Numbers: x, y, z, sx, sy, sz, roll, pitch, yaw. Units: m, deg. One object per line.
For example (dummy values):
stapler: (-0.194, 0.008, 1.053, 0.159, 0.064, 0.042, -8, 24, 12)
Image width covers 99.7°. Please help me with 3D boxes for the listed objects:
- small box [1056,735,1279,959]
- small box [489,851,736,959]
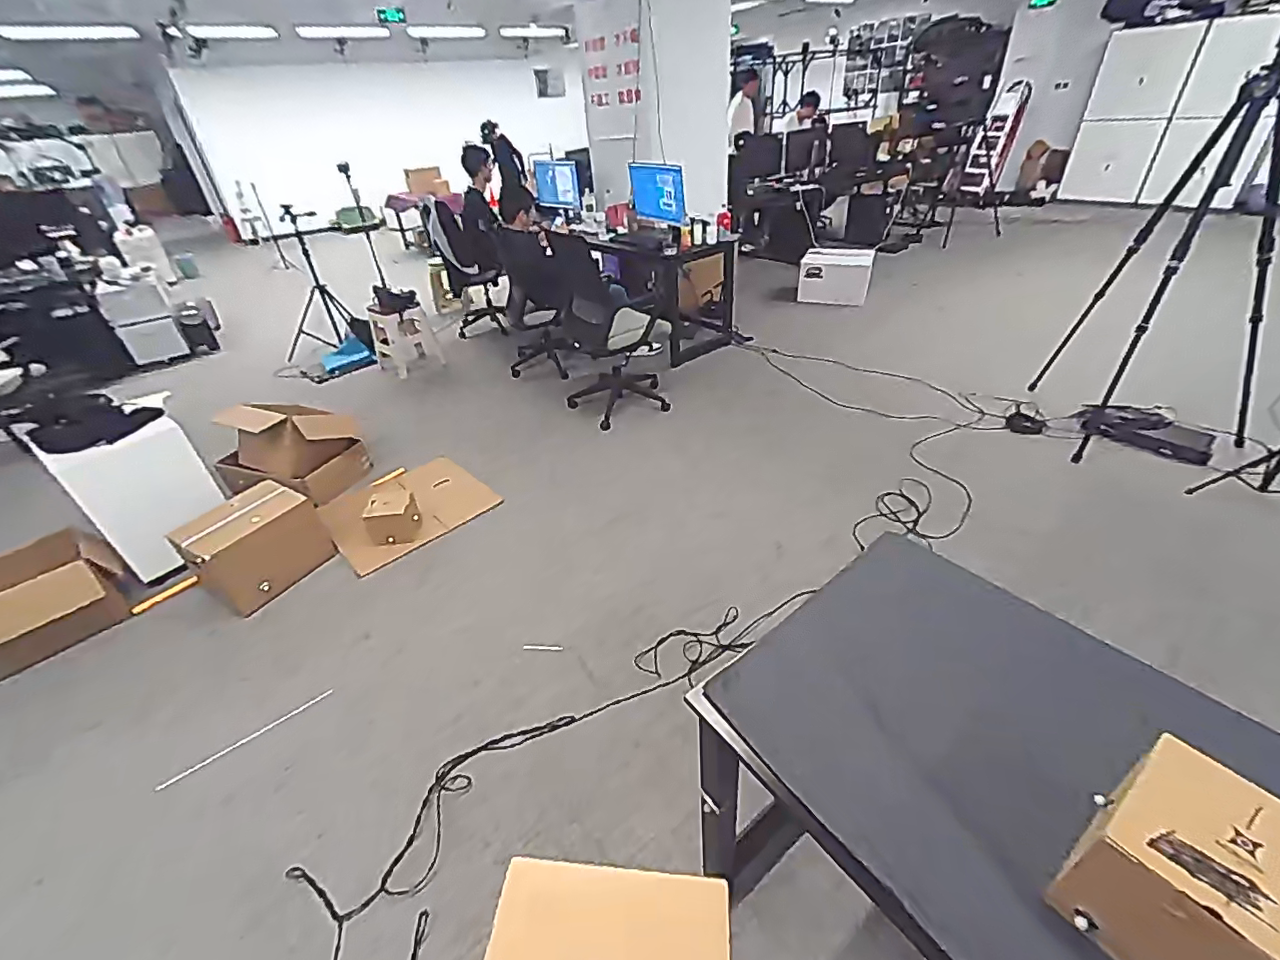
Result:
small box: (0.576, 0.418, 0.560, 0.179, 0.176, 0.168, -24, 39, -28)
small box: (-0.023, 0.400, 0.372, 0.168, 0.176, 0.179, 3, 32, 5)
